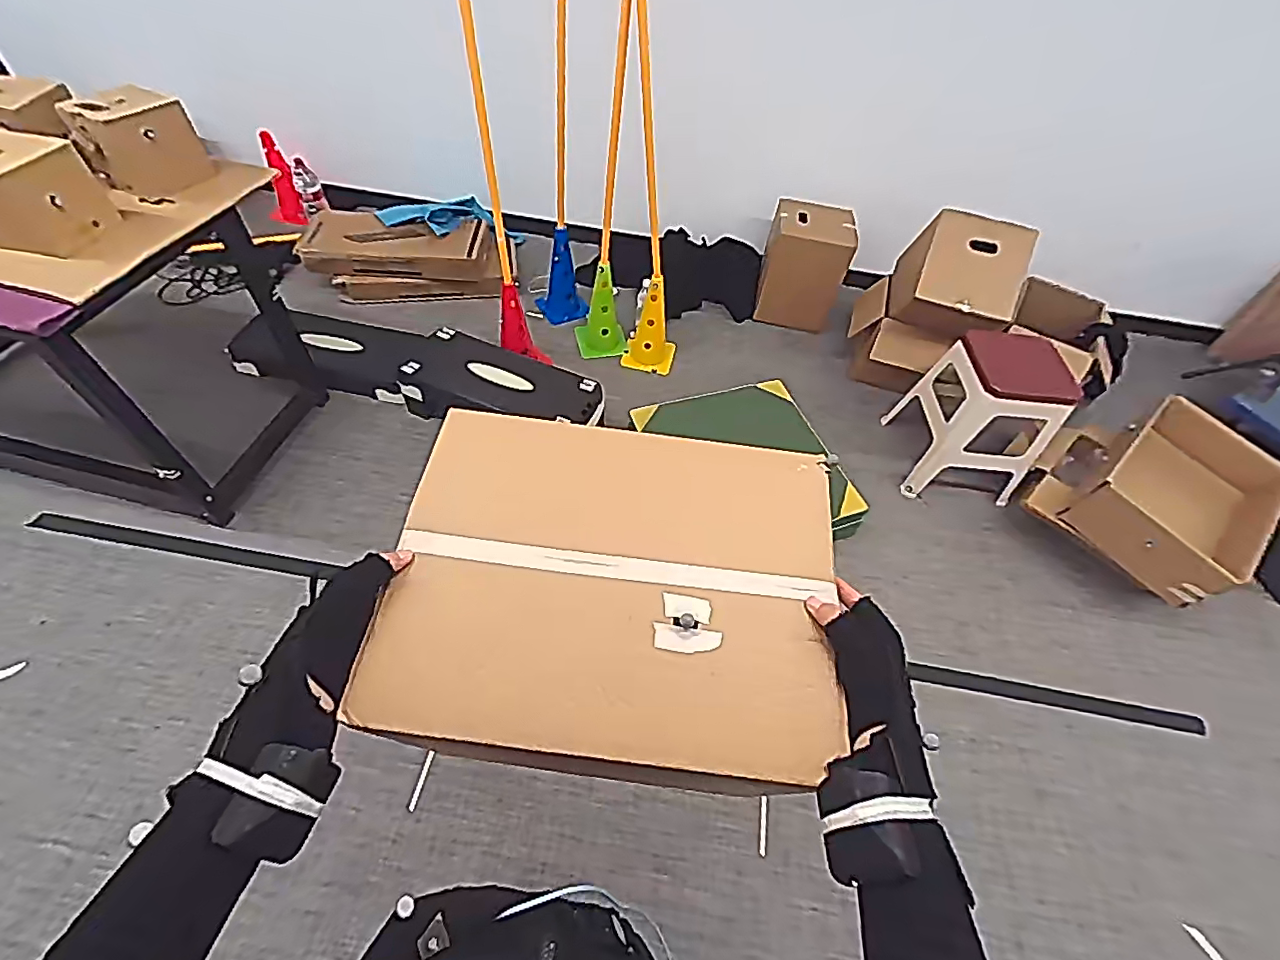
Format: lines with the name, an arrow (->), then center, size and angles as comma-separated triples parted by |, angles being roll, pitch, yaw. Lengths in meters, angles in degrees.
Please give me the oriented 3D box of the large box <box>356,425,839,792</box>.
large box -> -0.031, 0.168, 0.638 | 0.408, 0.320, 0.320 | 8, 60, 0
